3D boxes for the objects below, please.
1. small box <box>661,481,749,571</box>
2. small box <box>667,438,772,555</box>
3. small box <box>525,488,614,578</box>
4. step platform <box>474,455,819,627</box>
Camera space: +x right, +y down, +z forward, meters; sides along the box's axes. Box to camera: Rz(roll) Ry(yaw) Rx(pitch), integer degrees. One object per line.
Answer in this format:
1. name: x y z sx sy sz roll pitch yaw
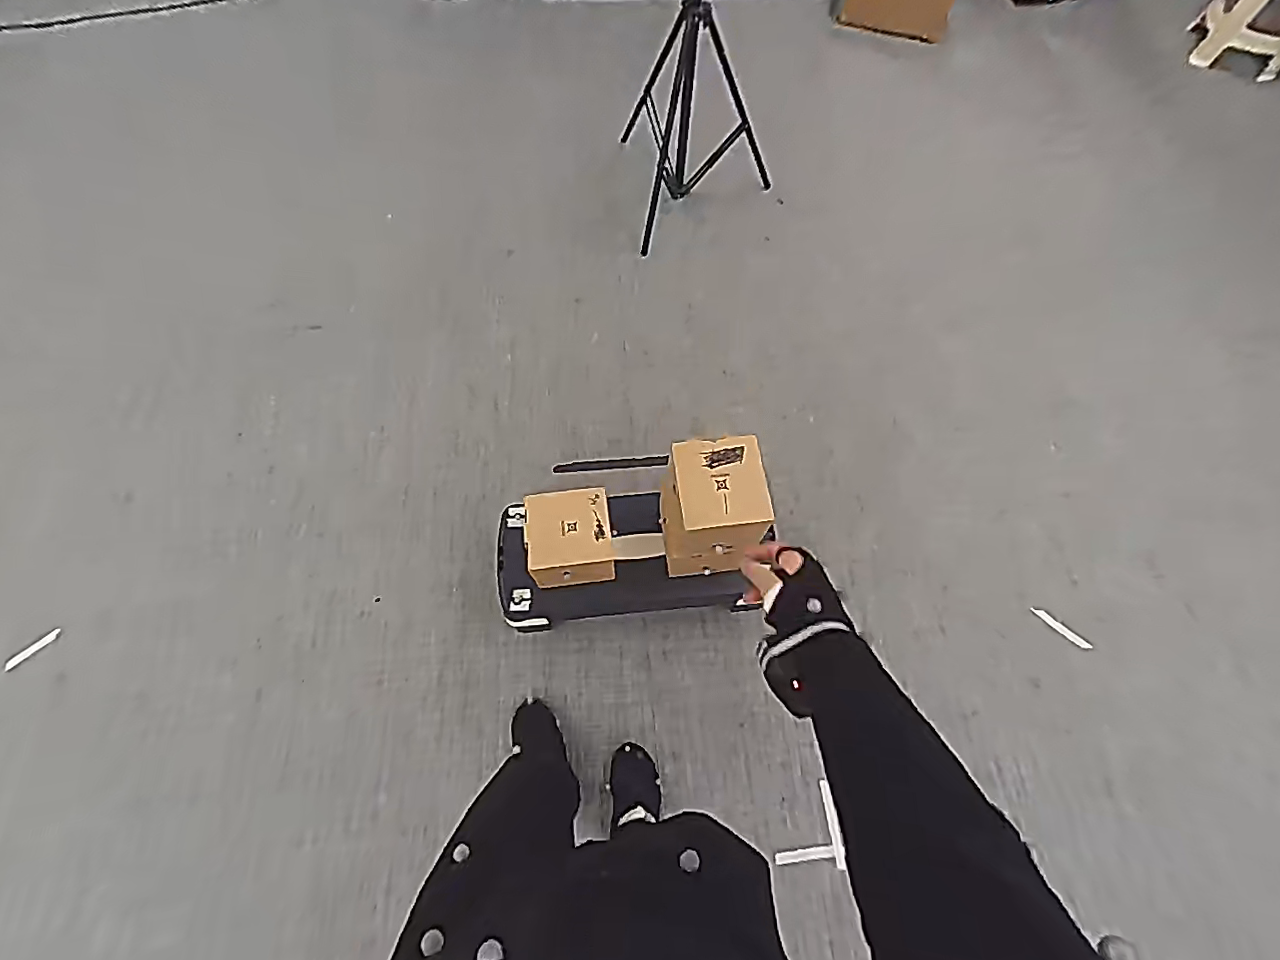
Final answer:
1. small box: 0.136 0.106 1.222 0.168 0.176 0.179 -6 67 -3
2. small box: 0.147 0.037 1.074 0.168 0.176 0.179 -6 67 -3
3. small box: -0.152 0.132 1.206 0.179 0.176 0.168 -7 67 -4
4. step platform: 0.010 0.137 1.168 0.684 0.204 0.286 -5 66 -4
